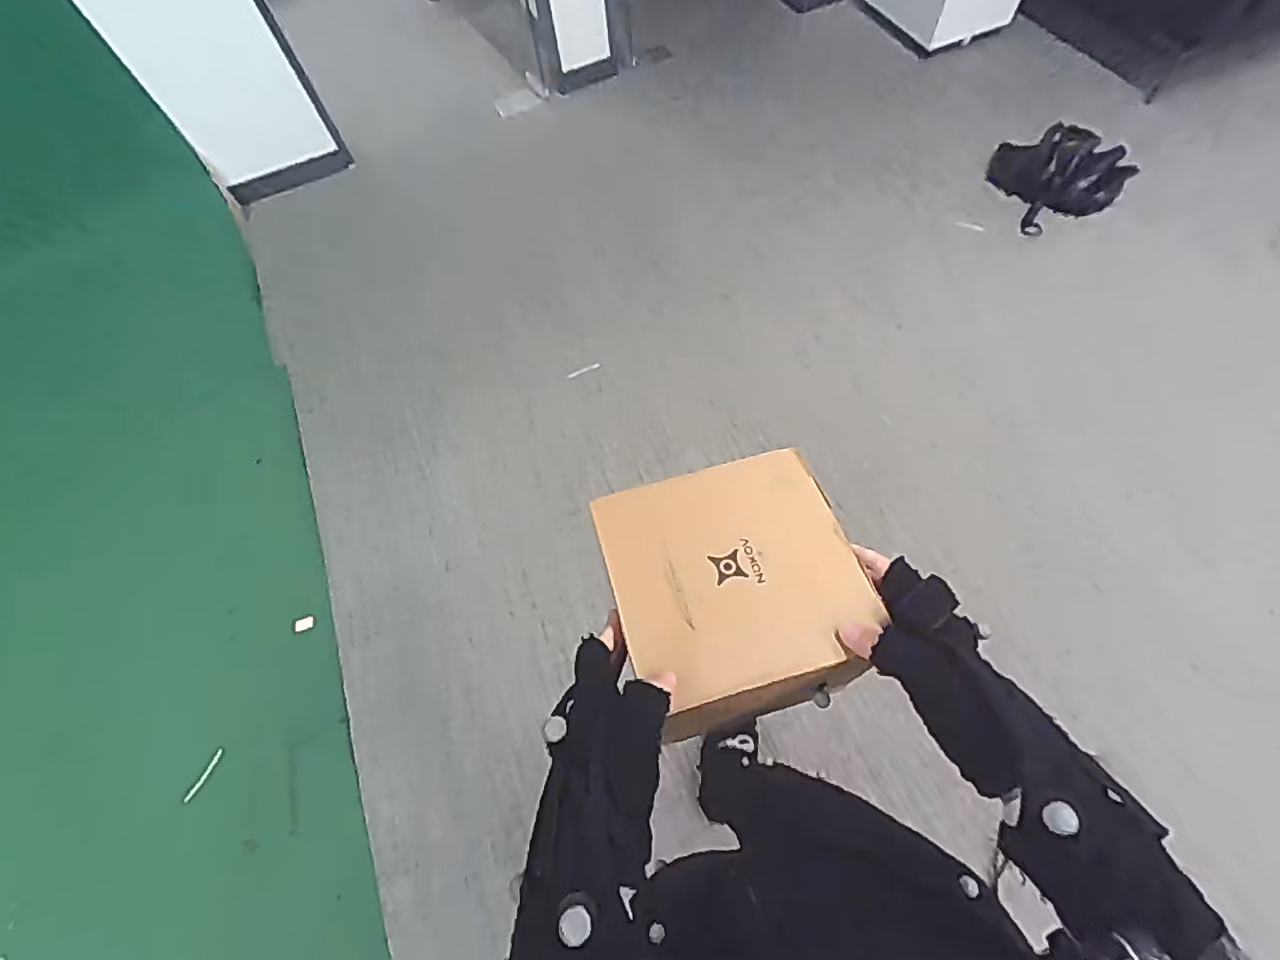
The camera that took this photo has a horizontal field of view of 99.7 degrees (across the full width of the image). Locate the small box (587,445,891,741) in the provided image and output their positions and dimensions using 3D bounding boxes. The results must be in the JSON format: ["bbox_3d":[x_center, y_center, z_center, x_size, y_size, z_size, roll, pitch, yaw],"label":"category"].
[{"bbox_3d":[0.068,0.102,0.455,0.179,0.176,0.168,-17,57,-5],"label":"small box"}]
